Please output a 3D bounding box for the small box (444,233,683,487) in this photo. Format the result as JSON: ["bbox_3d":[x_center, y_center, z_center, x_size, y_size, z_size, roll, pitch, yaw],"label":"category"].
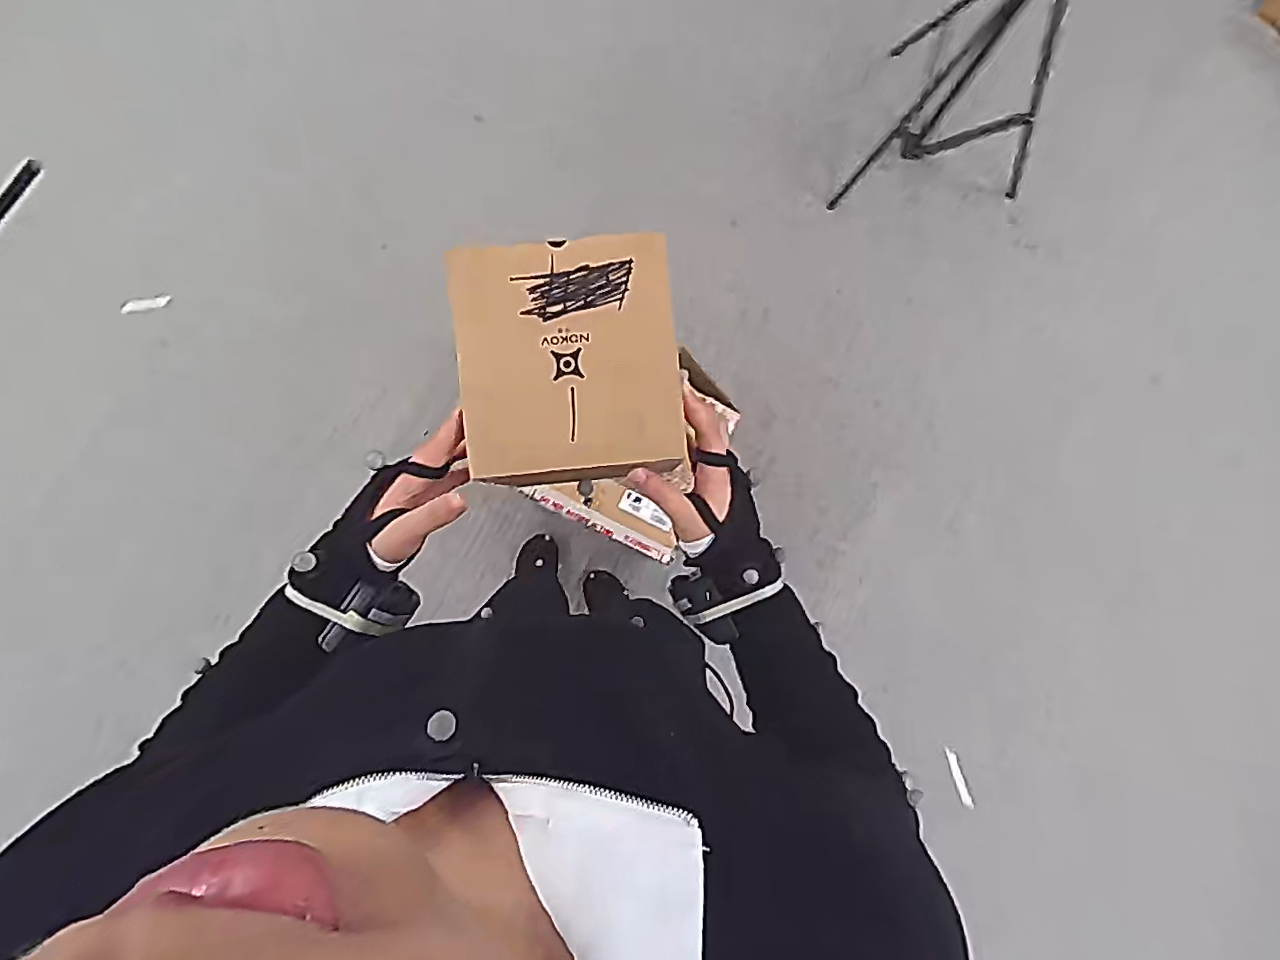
[{"bbox_3d":[-0.060,-0.090,0.483,0.168,0.176,0.179,-7,89,-1],"label":"small box"}]
